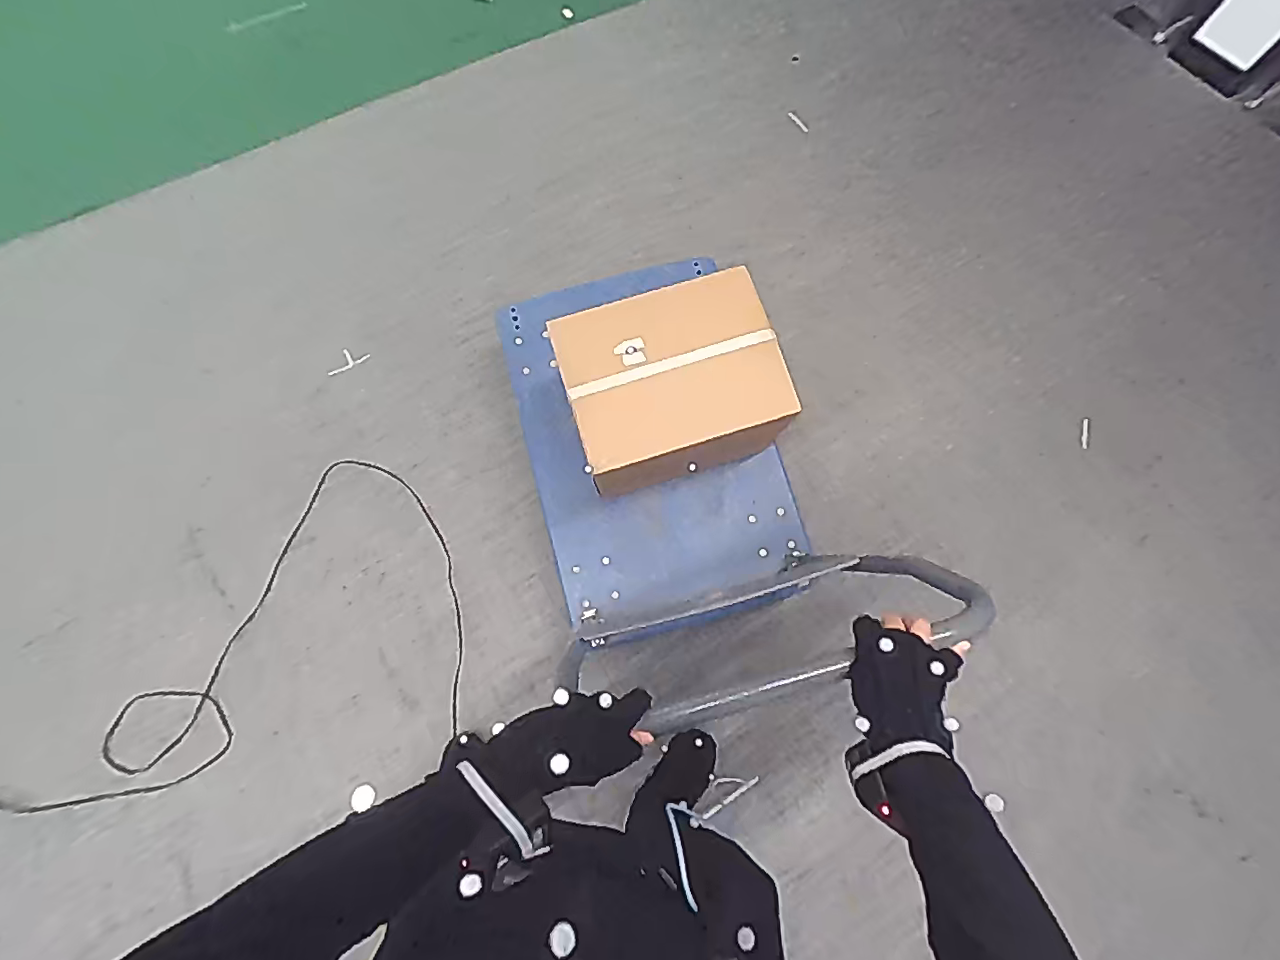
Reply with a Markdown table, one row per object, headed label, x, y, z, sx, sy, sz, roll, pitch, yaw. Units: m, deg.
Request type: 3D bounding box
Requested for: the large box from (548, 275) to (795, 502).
| label | x | y | z | sx | sy | sz | roll | pitch | yaw |
| --- | --- | --- | --- | --- | --- | --- | --- | --- | --- |
| large box | 0.060 | -0.174 | 1.173 | 0.408 | 0.320 | 0.320 | -19 | 80 | -3 |
